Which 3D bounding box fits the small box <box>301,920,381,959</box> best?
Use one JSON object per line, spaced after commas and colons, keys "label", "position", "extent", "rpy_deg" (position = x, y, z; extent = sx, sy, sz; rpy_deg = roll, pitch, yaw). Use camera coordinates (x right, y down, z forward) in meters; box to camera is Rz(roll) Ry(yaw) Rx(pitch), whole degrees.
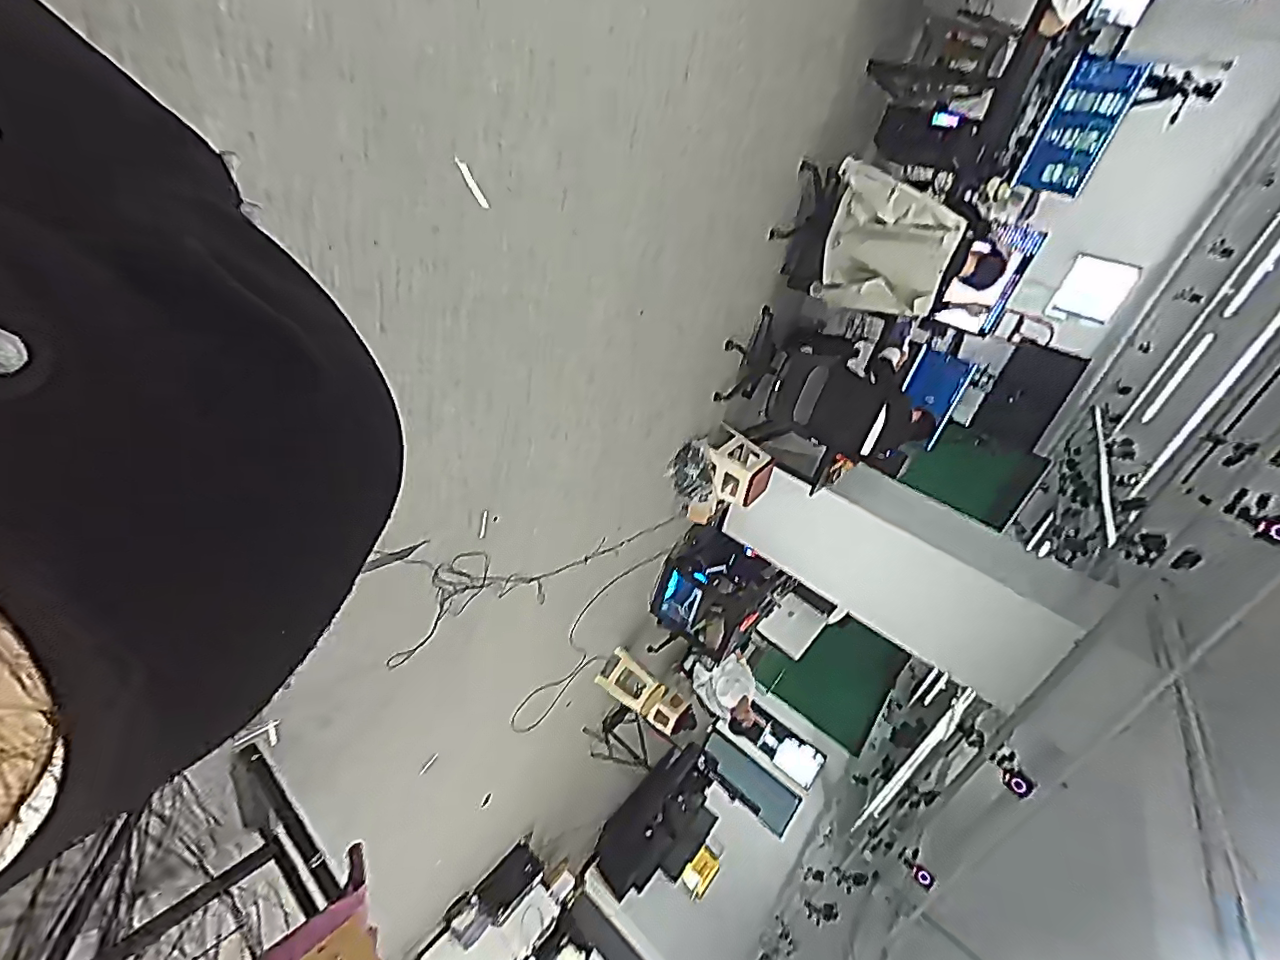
{"label": "small box", "position": [-0.872, 1.434, 1.564], "extent": [0.168, 0.176, 0.179], "rpy_deg": [-20, 135, -49]}
